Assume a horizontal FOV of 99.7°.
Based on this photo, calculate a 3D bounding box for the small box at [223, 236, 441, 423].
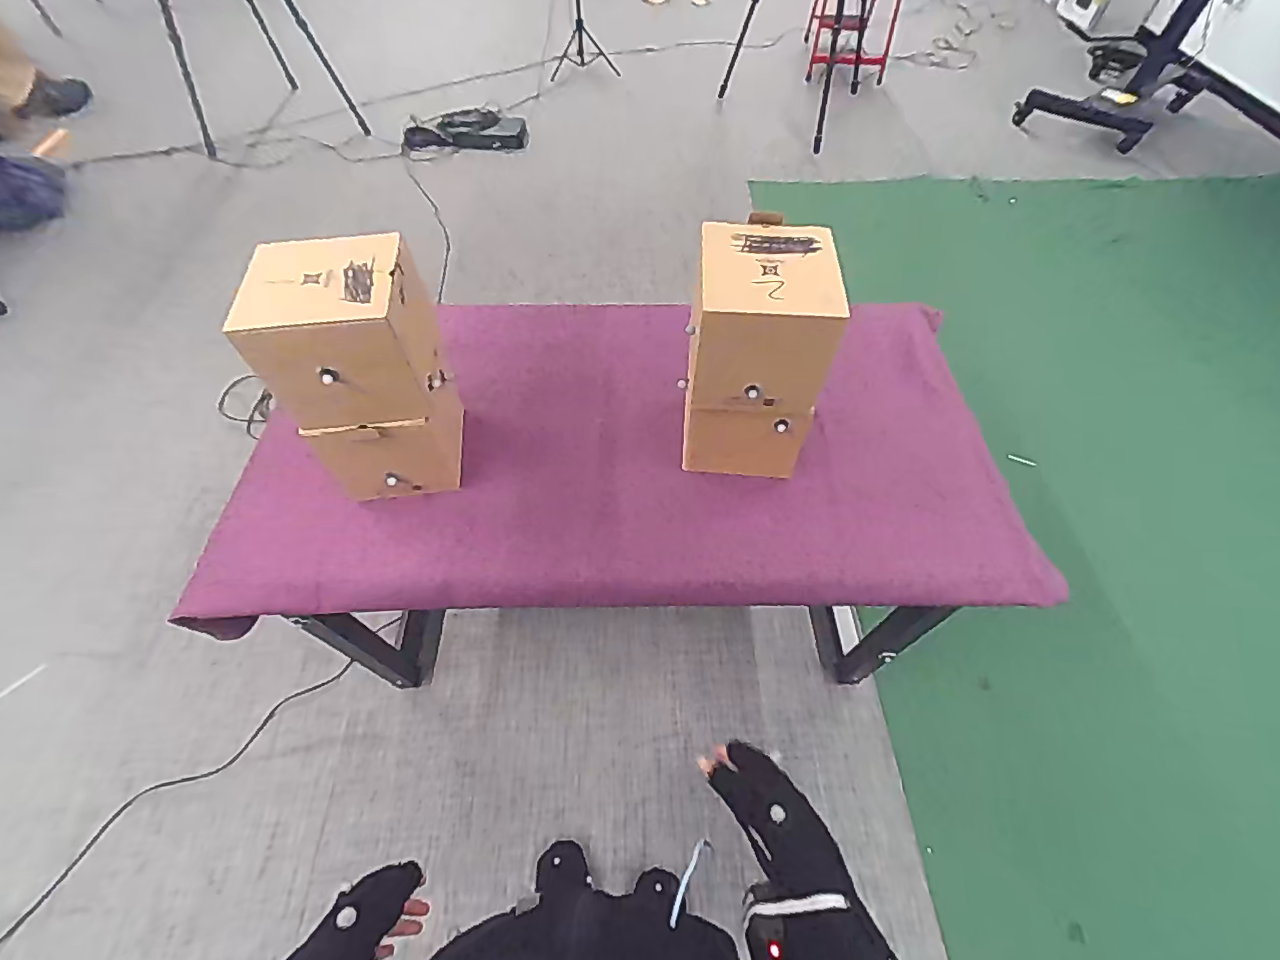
[{"bbox_3d":[-0.372,-0.189,0.698,0.179,0.176,0.168,-4,54,-3],"label":"small box"}]

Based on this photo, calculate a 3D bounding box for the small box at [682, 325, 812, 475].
[{"bbox_3d":[0.158,-0.122,0.852,0.179,0.176,0.168,4,56,3],"label":"small box"}]

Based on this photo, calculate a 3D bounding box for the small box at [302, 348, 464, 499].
[{"bbox_3d":[-0.377,-0.092,0.834,0.168,0.176,0.179,-6,57,-4],"label":"small box"}]
